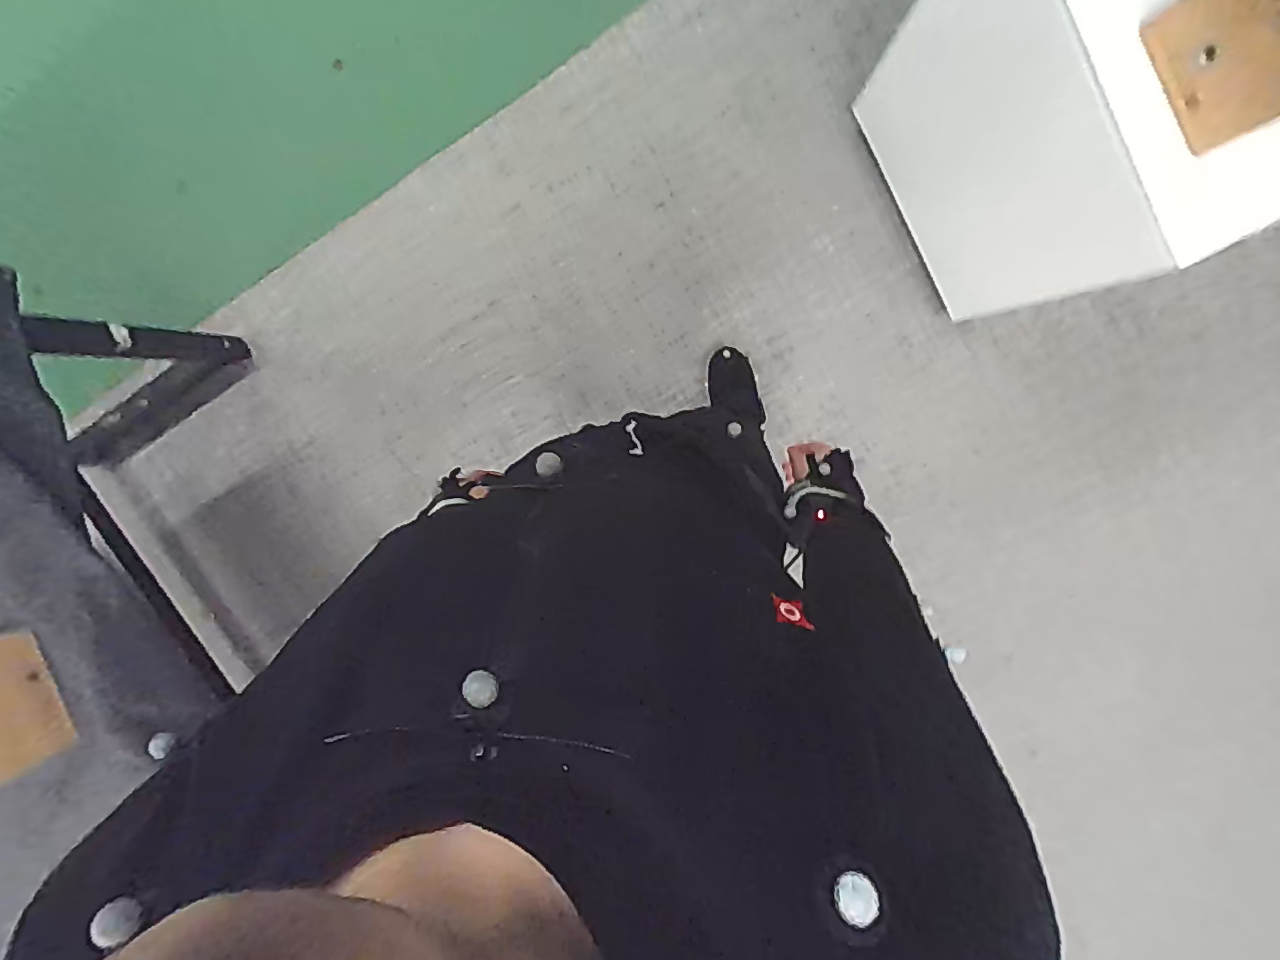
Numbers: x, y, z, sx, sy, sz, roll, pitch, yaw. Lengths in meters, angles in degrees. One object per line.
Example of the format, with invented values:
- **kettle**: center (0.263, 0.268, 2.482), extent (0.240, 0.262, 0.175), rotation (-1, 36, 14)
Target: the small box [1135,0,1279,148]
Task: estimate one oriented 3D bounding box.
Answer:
- **small box**: center (0.666, -0.479, 0.534), extent (0.179, 0.176, 0.168), rotation (-31, 97, 9)
